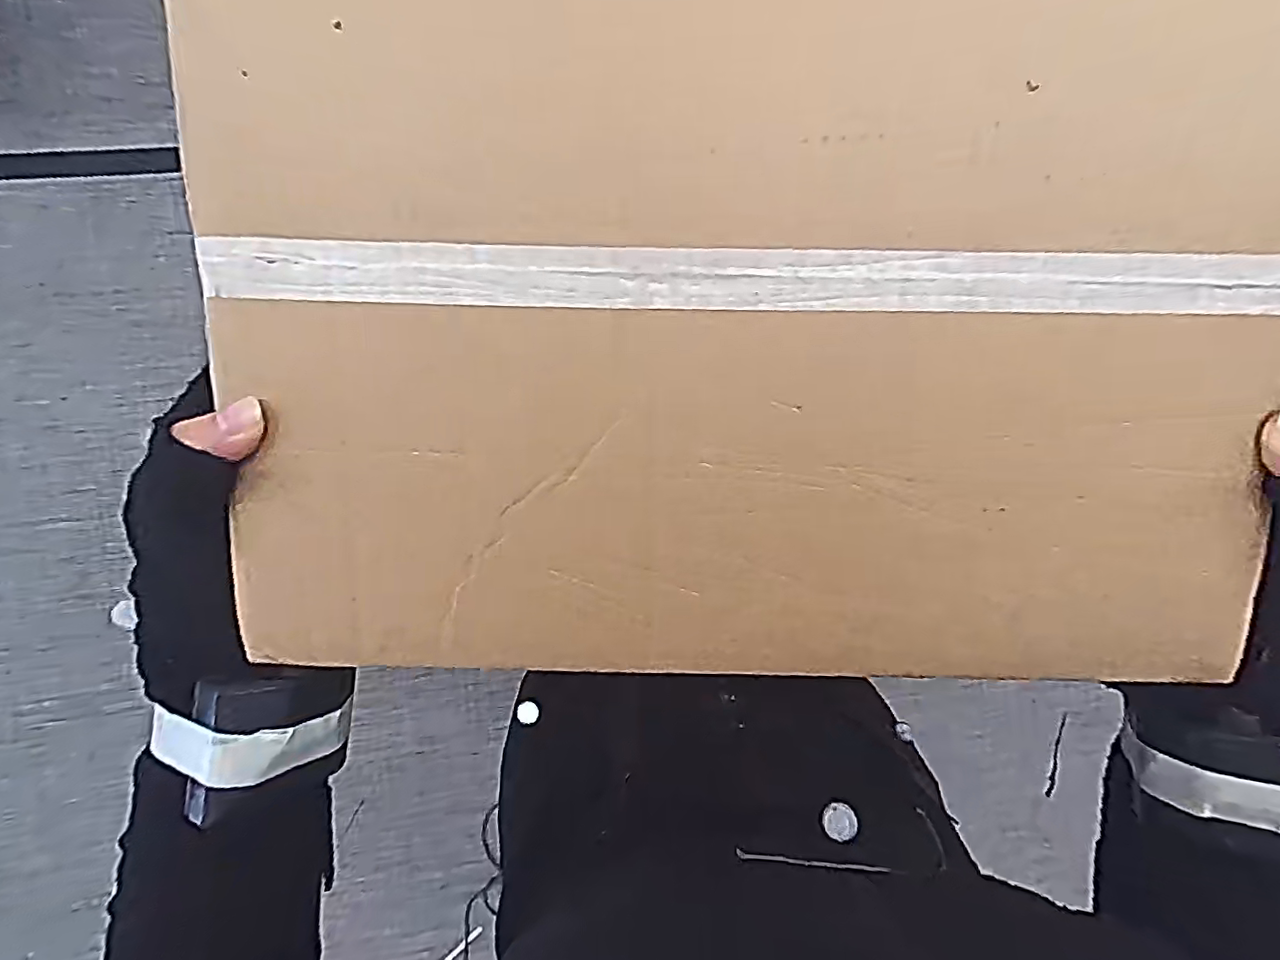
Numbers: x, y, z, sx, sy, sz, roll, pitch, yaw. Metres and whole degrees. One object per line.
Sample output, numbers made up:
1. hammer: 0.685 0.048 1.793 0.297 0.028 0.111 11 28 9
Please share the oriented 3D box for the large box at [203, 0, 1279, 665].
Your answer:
1. large box: 0.044 -0.097 0.357 0.408 0.320 0.320 1 99 0
